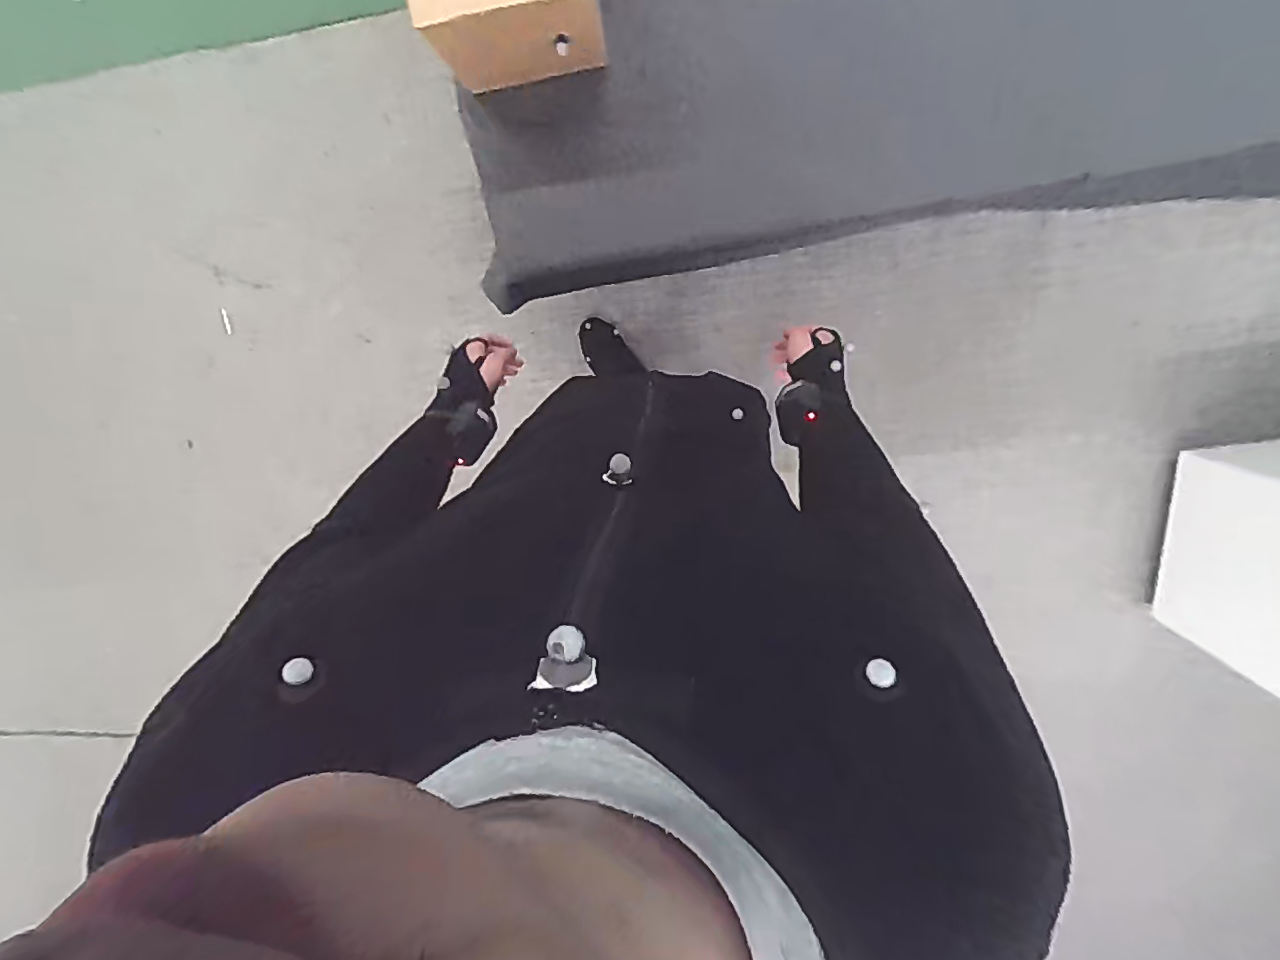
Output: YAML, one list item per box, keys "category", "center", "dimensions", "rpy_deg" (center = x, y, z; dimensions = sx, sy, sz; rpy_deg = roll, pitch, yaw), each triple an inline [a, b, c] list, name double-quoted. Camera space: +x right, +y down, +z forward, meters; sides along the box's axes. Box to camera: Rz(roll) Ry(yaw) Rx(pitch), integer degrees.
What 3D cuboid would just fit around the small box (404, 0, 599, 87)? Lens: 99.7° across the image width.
- category: "small box"
  center: [-0.141, -0.540, 0.551]
  dimensions: [0.179, 0.176, 0.168]
  rpy_deg: [-9, 106, 5]
